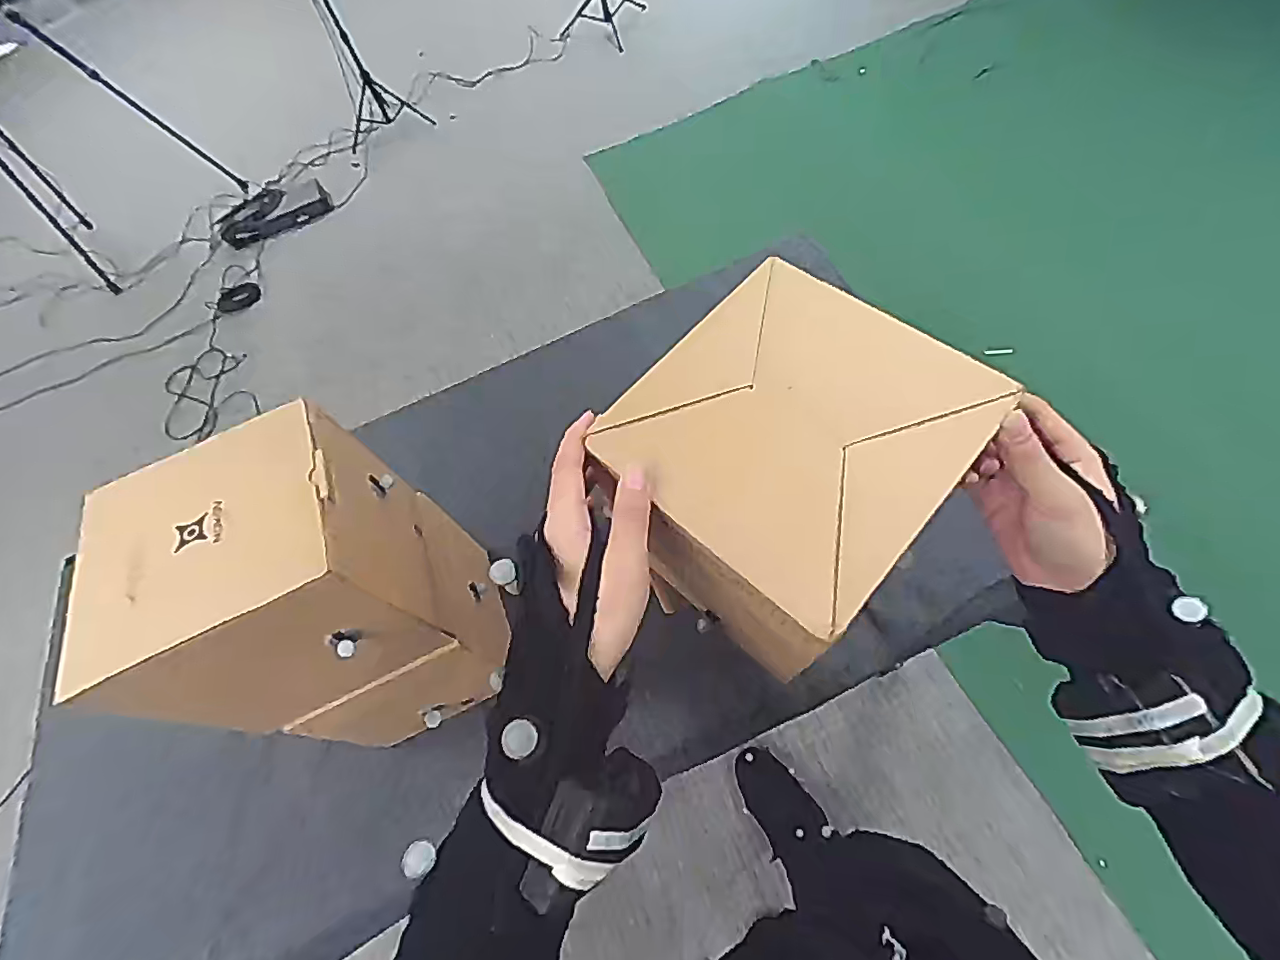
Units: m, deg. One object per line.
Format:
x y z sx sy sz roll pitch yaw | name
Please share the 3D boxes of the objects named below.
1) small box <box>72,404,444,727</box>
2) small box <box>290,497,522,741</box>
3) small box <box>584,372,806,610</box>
-0.281 0.077 0.439 0.179 0.176 0.168 -27 57 -4 | small box
-0.248 0.154 0.578 0.168 0.176 0.179 -25 59 -4 | small box
0.061 0.020 0.598 0.179 0.176 0.168 -24 58 -4 | small box
